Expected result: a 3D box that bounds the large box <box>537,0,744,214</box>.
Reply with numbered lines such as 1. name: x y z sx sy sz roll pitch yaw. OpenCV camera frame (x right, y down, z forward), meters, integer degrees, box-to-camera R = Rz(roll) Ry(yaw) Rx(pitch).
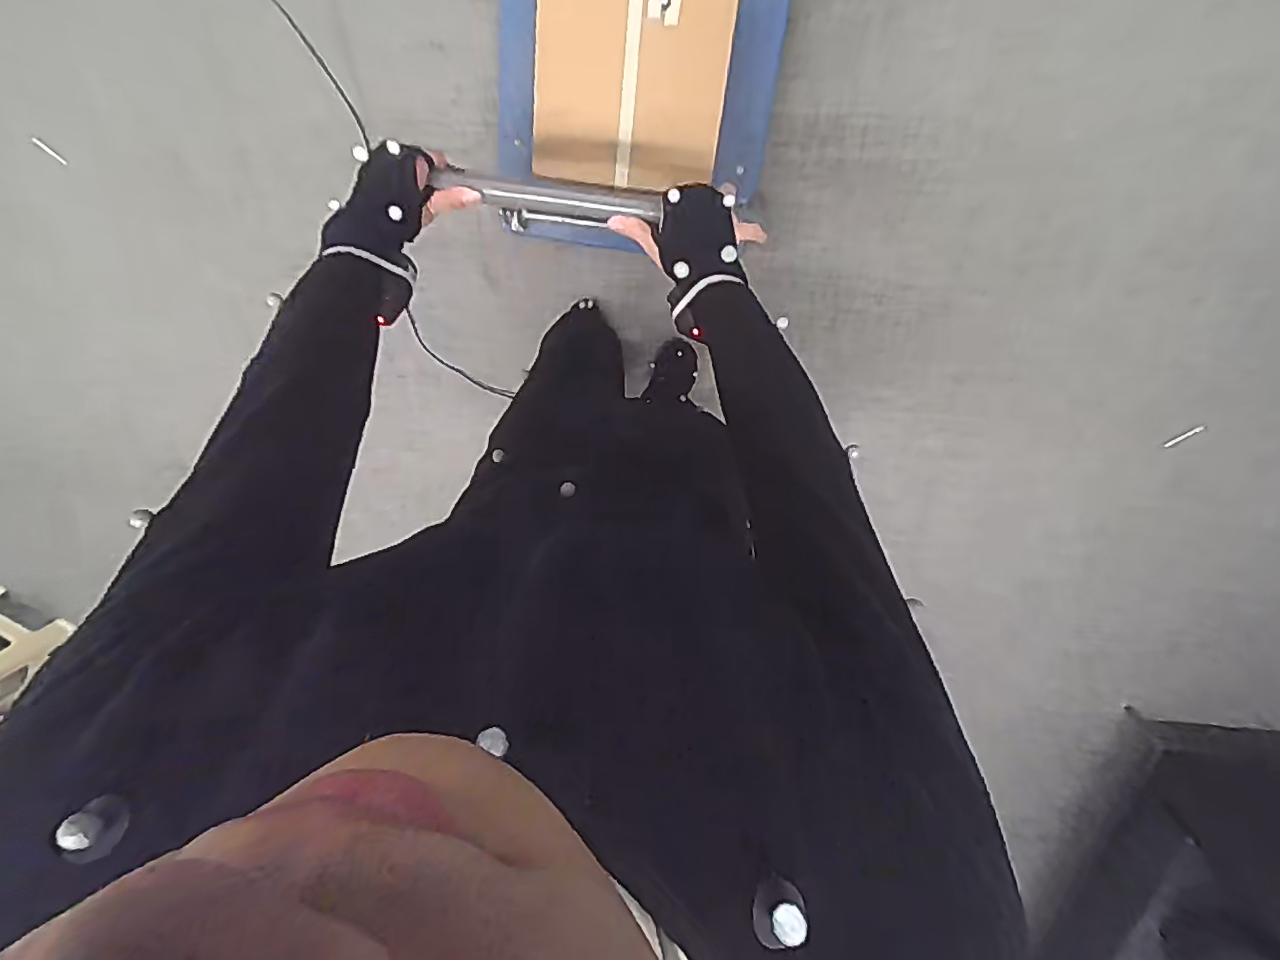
1. large box: 0.007 -0.731 0.990 0.320 0.320 0.408 8 113 1
